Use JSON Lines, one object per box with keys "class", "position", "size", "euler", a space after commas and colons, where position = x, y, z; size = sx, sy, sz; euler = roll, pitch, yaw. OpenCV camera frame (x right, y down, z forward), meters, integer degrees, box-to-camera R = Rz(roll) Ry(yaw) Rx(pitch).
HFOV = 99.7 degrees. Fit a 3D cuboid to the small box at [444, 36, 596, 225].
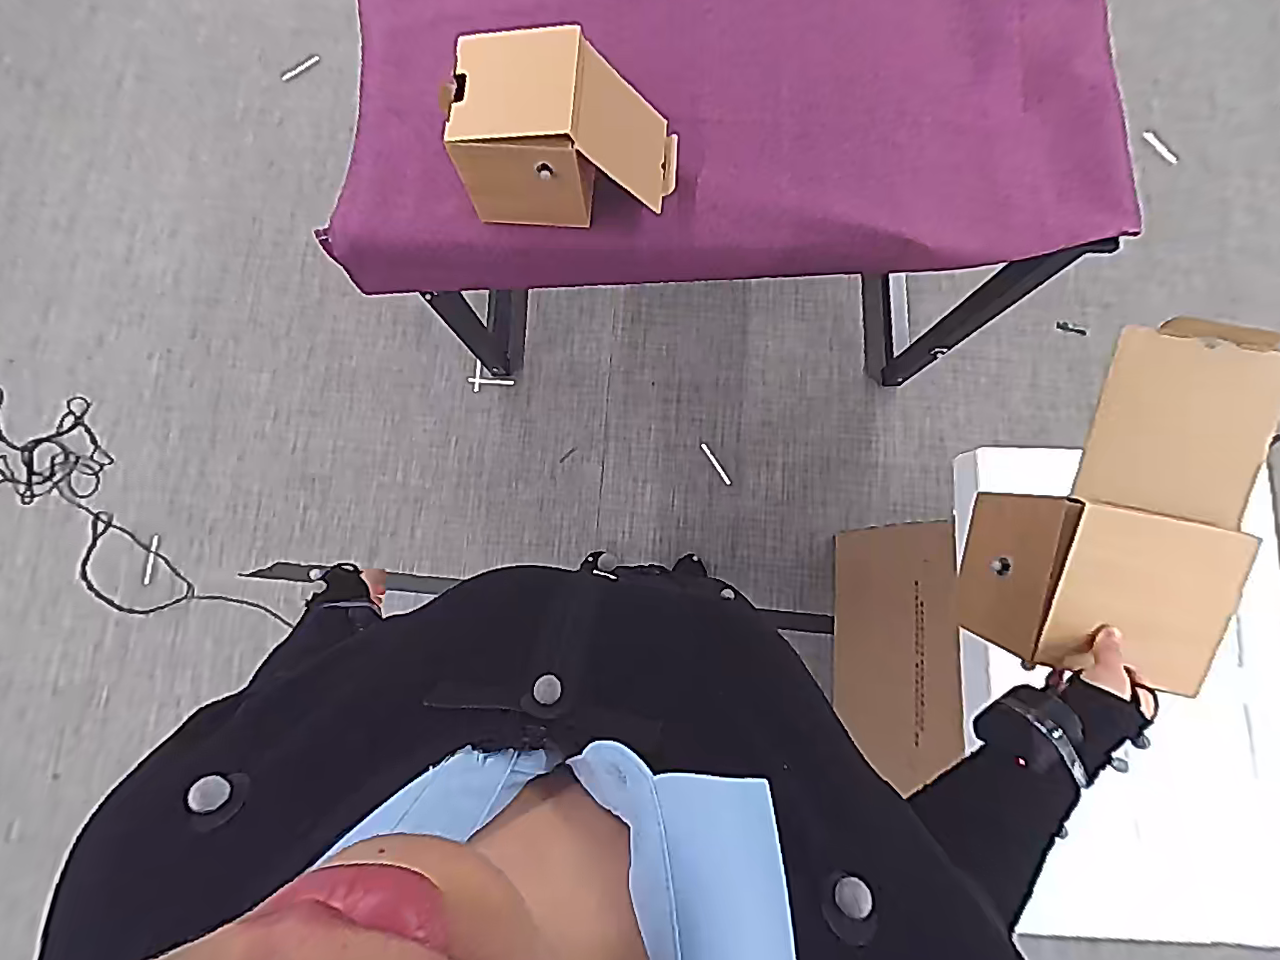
{"class": "small box", "position": [-0.163, -0.501, 0.796], "size": [0.179, 0.176, 0.168], "euler": [4, 80, 2]}
